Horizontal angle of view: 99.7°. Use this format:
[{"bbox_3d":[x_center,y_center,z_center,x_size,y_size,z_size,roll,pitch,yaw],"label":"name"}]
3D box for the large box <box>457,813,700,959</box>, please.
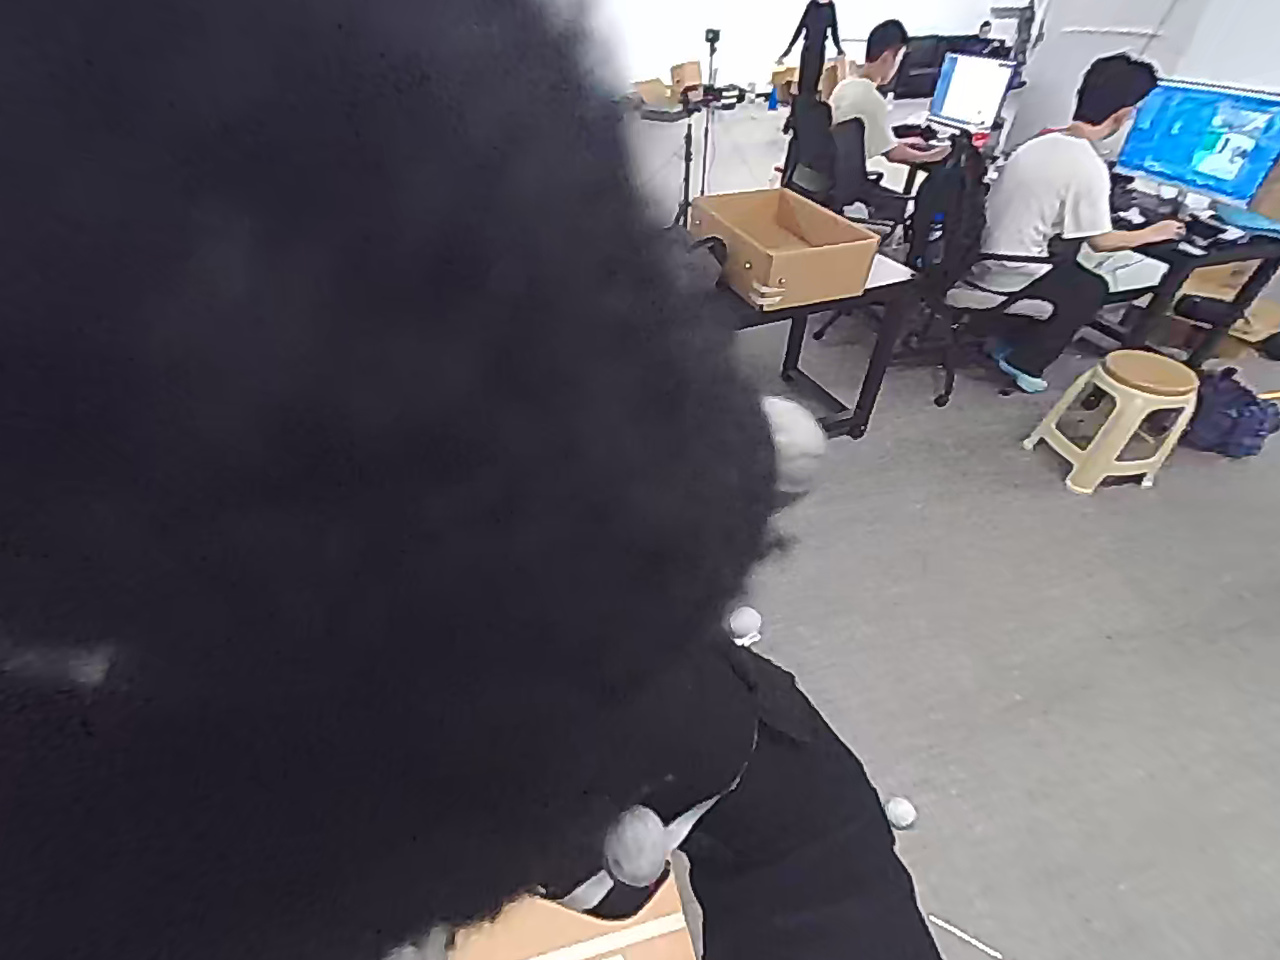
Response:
[{"bbox_3d":[-0.108,0.897,1.021,0.408,0.320,0.320,-9,44,-9],"label":"large box"}]
